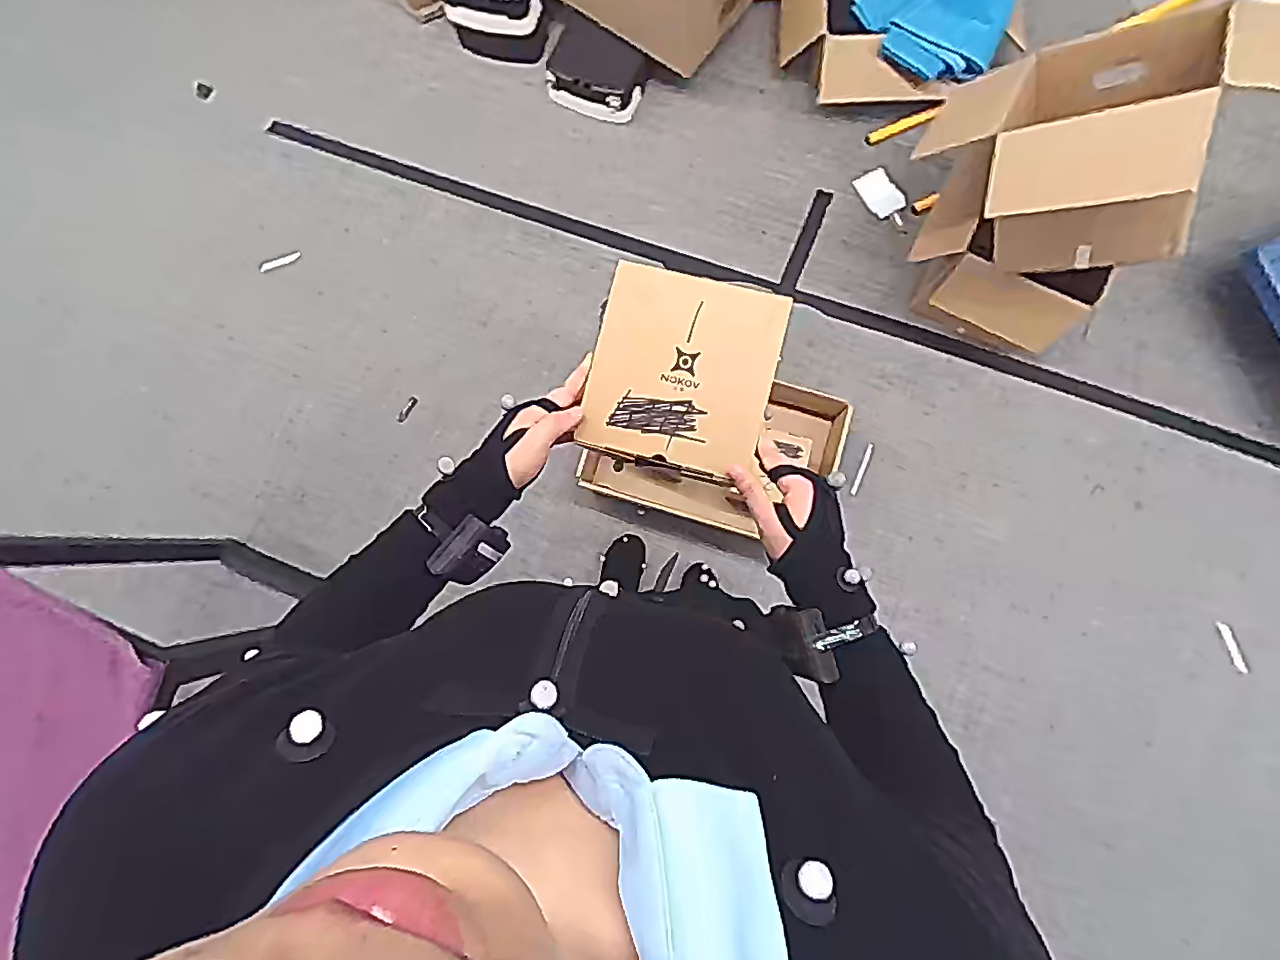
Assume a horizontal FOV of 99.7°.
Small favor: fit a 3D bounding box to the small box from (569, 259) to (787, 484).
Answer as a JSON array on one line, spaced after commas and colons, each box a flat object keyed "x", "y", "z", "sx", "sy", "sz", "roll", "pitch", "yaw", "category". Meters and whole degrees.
[{"x": 0.039, "y": -0.097, "z": 0.566, "sx": 0.168, "sy": 0.176, "sz": 0.179, "roll": 14, "pitch": 89, "yaw": 4, "category": "small box"}]
